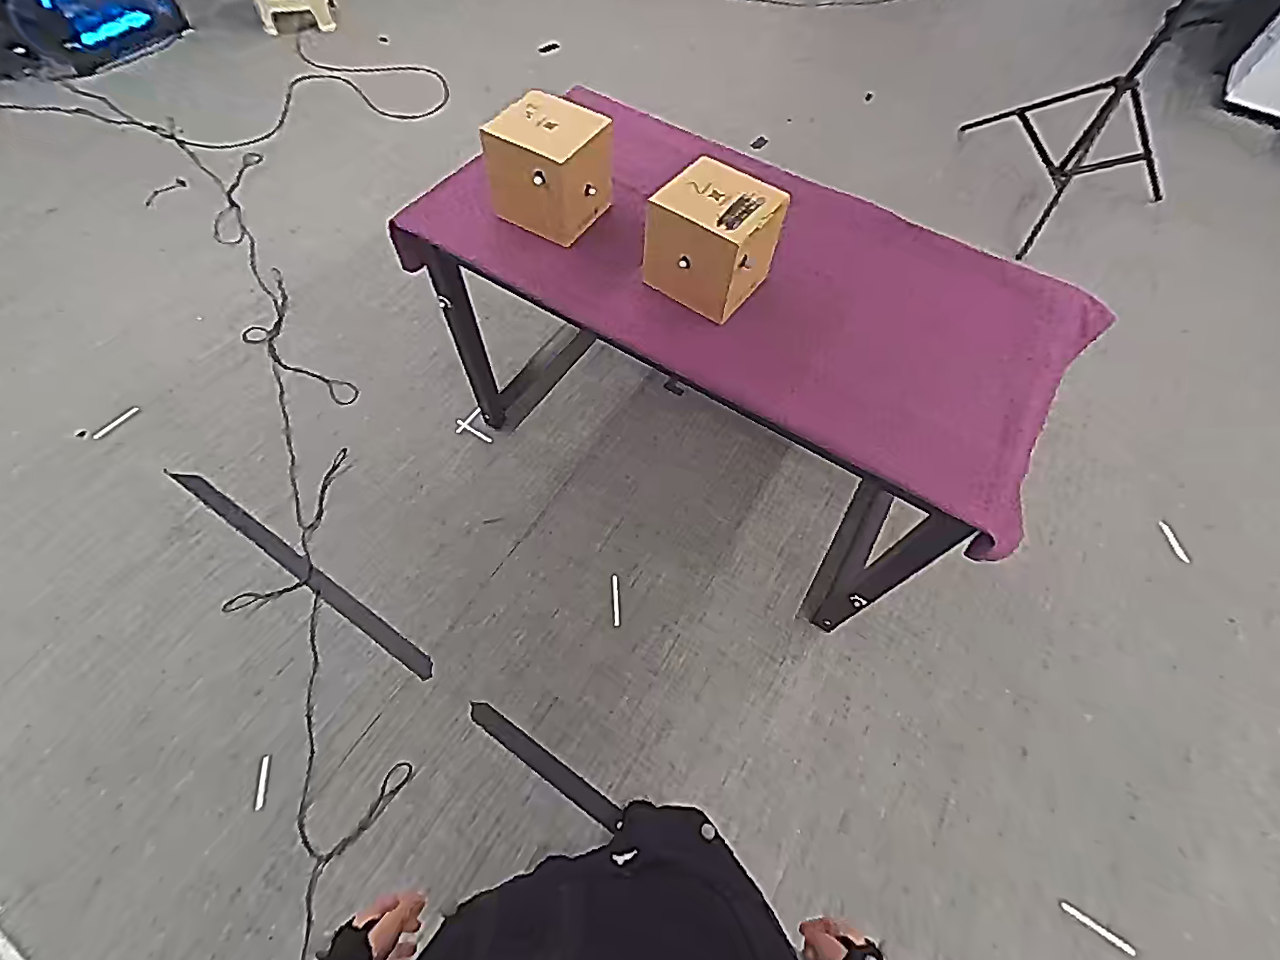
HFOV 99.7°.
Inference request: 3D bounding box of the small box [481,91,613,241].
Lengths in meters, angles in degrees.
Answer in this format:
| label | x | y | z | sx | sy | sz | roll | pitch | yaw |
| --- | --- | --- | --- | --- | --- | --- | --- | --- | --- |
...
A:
| label | x | y | z | sx | sy | sz | roll | pitch | yaw |
| --- | --- | --- | --- | --- | --- | --- | --- | --- | --- |
| small box | -0.165 | -0.583 | 1.019 | 0.179 | 0.176 | 0.168 | 28 | 62 | 12 |
